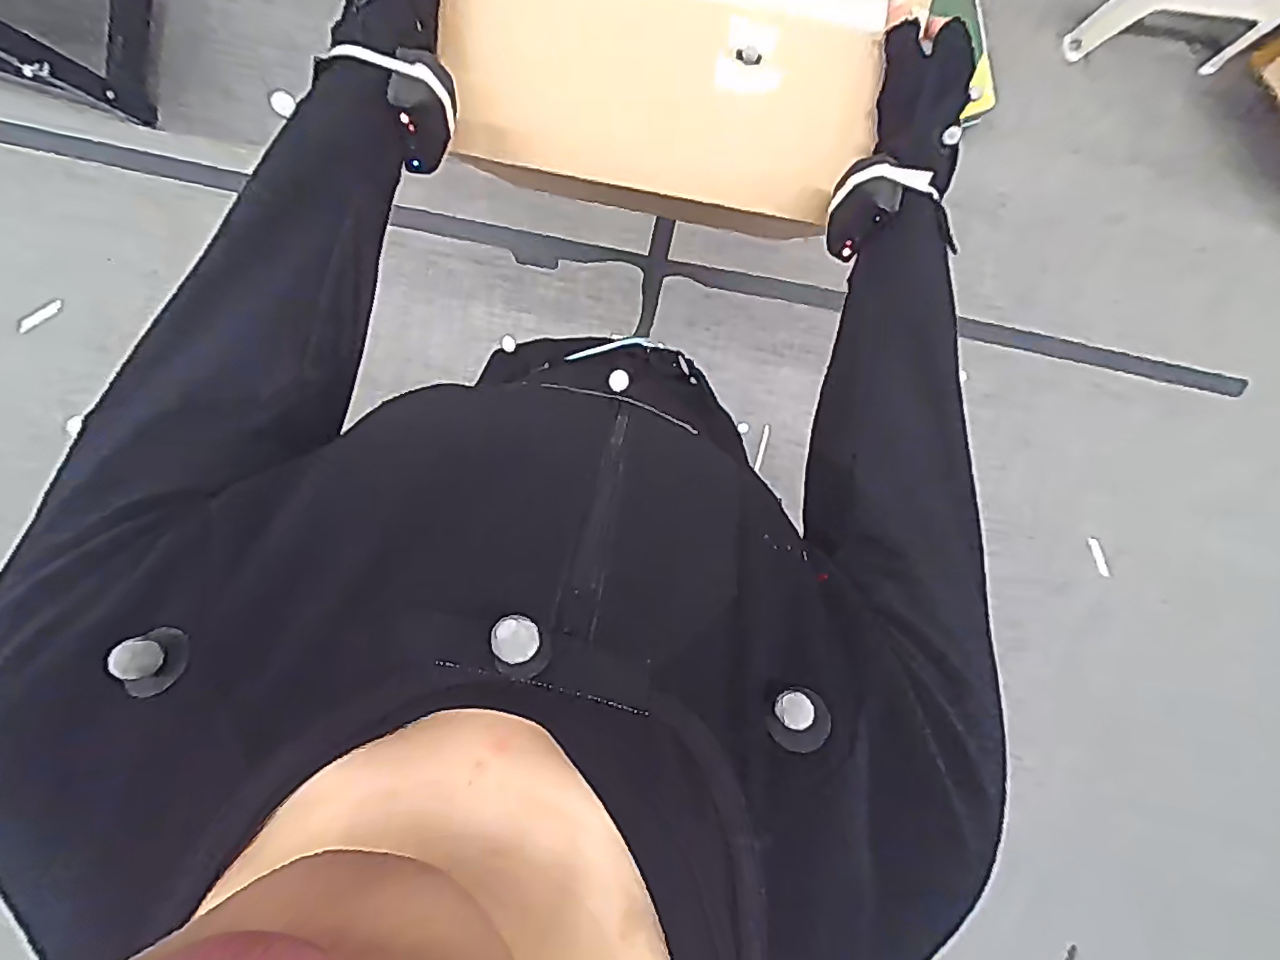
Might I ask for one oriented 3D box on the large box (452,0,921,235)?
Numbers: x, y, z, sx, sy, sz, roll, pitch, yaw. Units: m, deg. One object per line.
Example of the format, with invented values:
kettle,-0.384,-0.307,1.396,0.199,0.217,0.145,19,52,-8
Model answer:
large box,0.040,-0.472,0.598,0.408,0.320,0.320,9,114,-3
